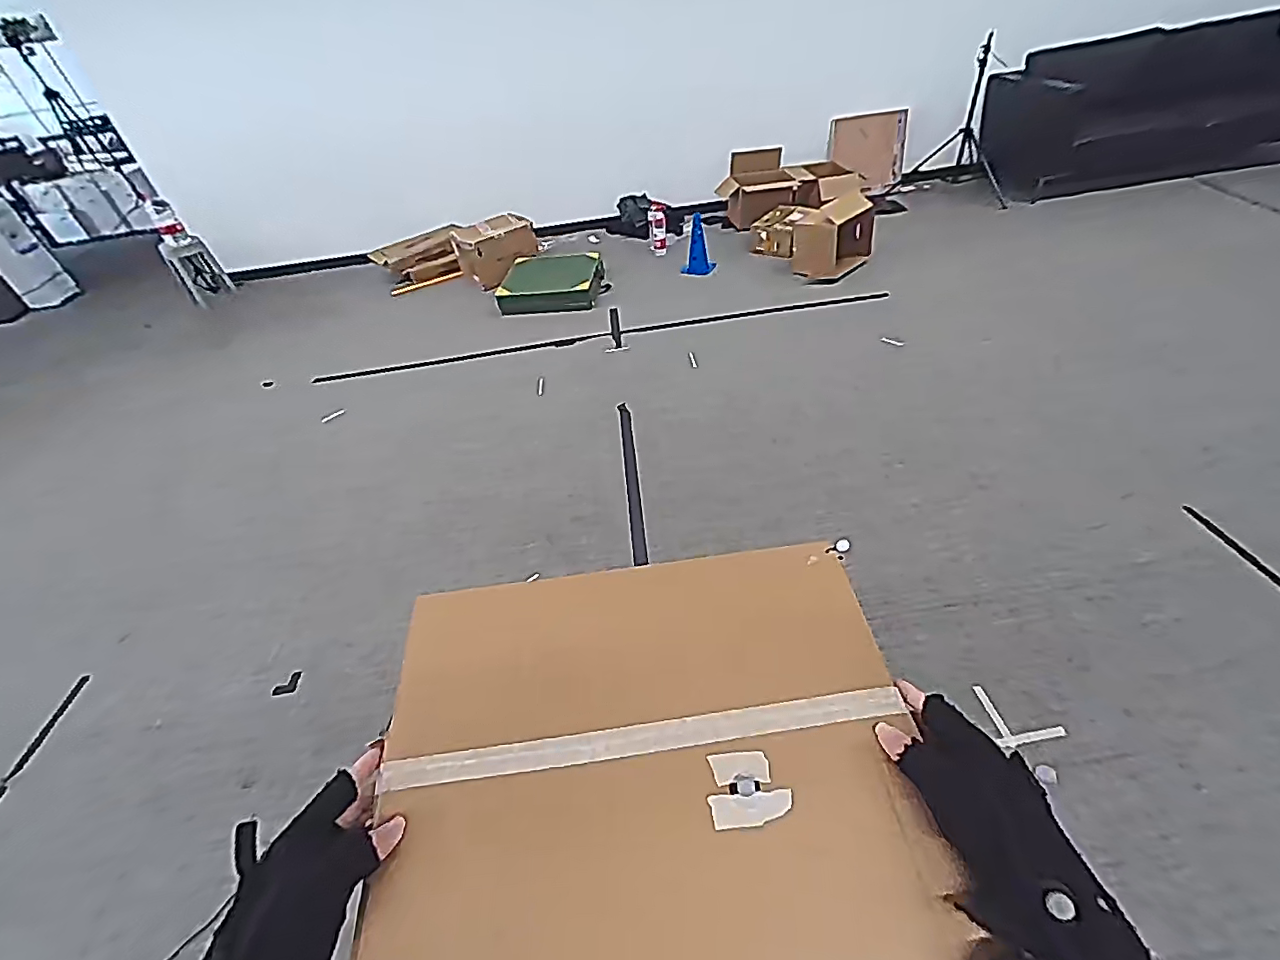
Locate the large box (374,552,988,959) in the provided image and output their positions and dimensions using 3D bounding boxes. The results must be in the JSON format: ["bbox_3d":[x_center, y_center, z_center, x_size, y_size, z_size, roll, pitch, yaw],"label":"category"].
[{"bbox_3d":[0.017,0.309,0.542,0.408,0.320,0.320,-7,48,-2],"label":"large box"}]
